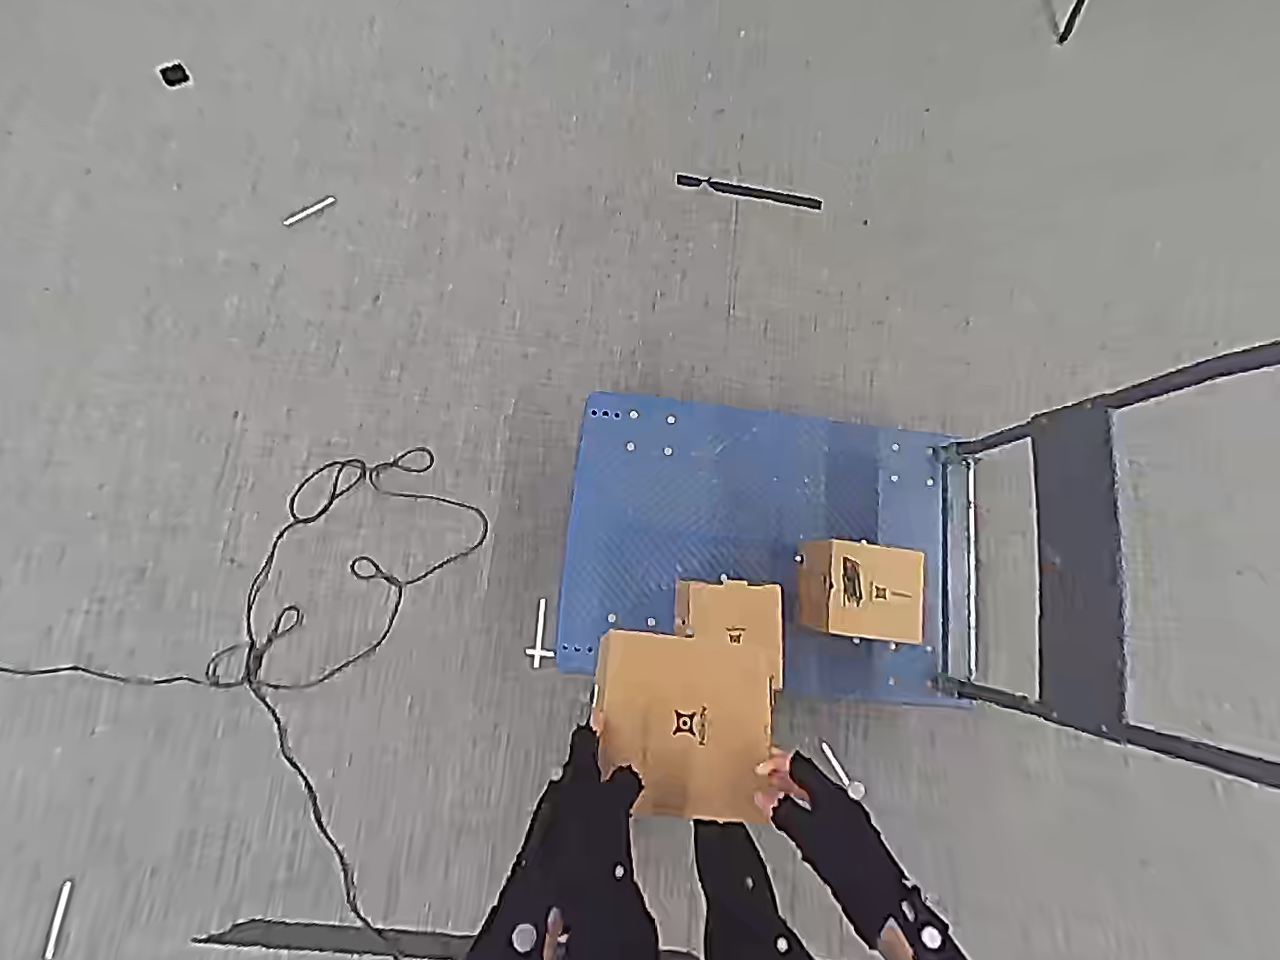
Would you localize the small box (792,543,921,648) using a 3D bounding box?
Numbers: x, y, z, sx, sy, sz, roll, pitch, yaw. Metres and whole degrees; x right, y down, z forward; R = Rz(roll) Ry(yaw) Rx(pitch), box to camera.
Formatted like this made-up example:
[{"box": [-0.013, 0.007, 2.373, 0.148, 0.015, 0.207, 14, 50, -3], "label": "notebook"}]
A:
[{"box": [0.407, 0.220, 1.039, 0.179, 0.176, 0.168, 9, 79, -3], "label": "small box"}]

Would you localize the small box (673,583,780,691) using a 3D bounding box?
[{"box": [0.153, 0.286, 1.007, 0.168, 0.176, 0.179, 3, 79, -4], "label": "small box"}]

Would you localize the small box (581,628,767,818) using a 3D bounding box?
[{"box": [0.032, 0.269, 0.617, 0.179, 0.176, 0.168, 7, 67, -6], "label": "small box"}]
